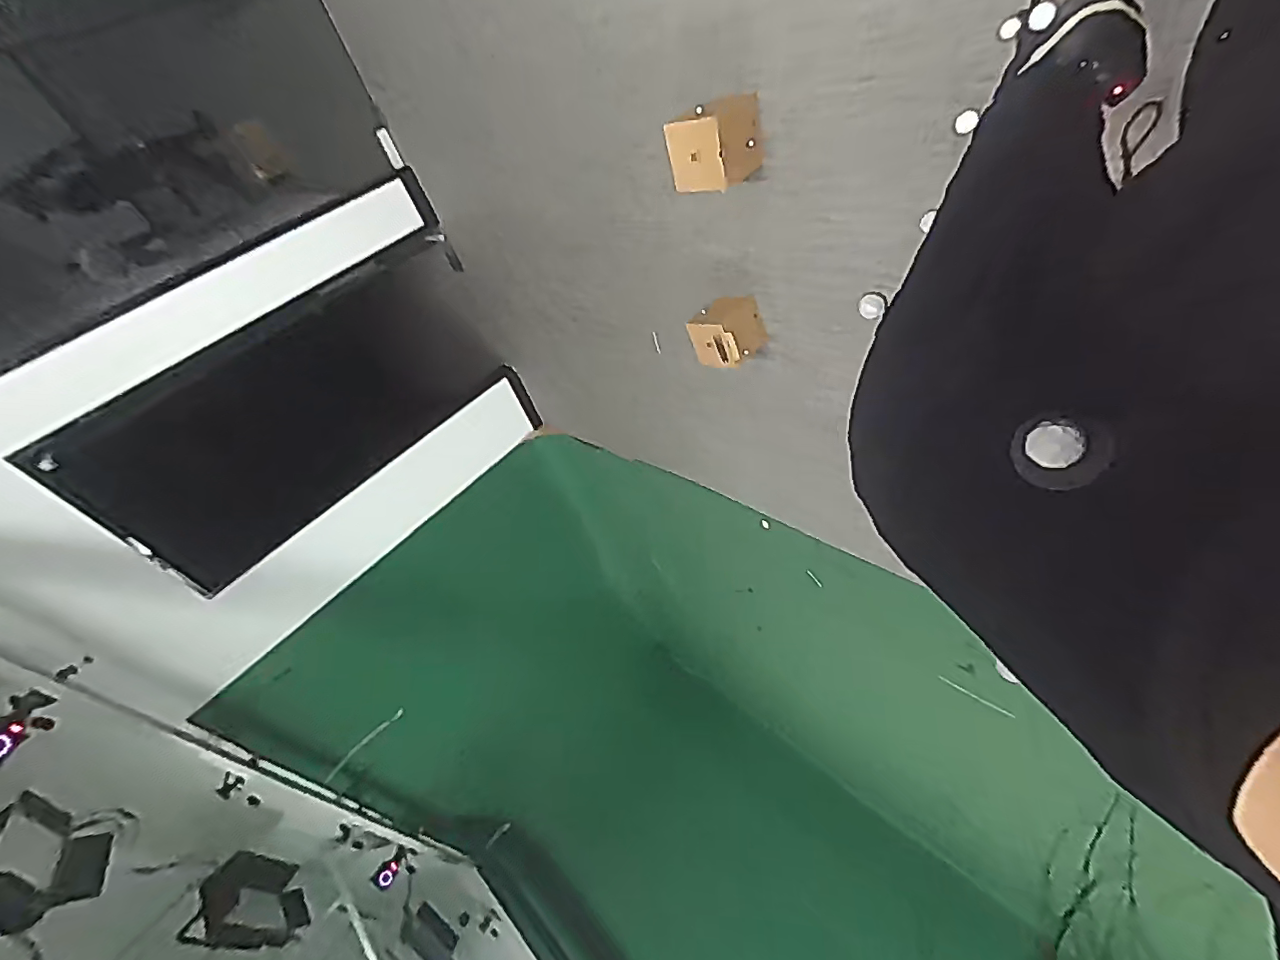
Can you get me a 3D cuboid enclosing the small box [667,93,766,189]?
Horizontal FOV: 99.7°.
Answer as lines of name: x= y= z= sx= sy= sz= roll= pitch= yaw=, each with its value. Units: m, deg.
small box: x=0.204 y=-0.879 z=1.407 sx=0.179 sy=0.176 sz=0.168 roll=24 pitch=148 yaw=40
